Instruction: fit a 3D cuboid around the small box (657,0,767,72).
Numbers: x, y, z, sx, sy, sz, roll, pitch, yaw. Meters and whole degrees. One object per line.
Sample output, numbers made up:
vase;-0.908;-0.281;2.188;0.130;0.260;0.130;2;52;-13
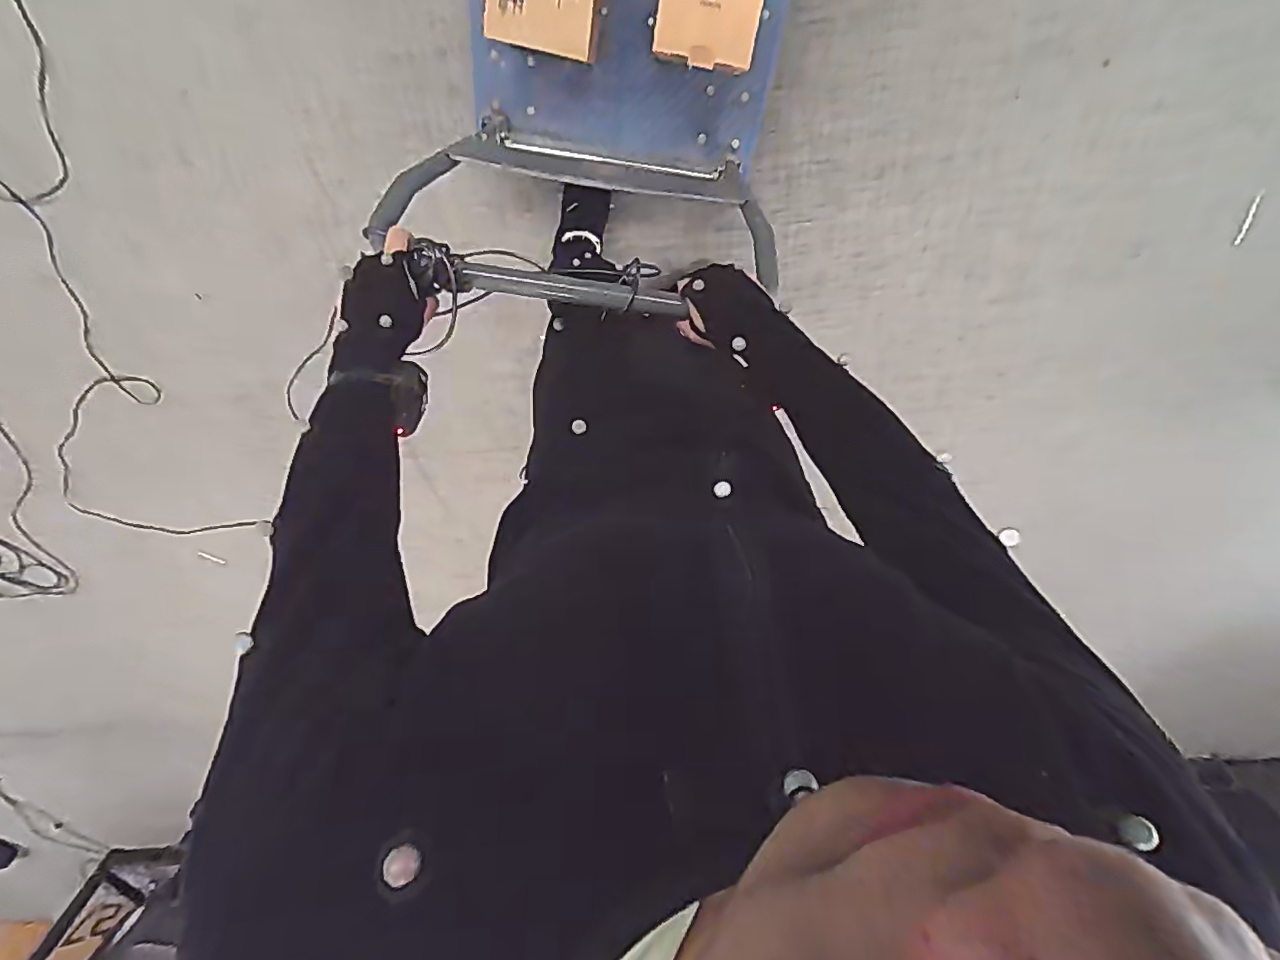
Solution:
small box;0.121;-0.814;0.915;0.168;0.176;0.179;8;127;-3
